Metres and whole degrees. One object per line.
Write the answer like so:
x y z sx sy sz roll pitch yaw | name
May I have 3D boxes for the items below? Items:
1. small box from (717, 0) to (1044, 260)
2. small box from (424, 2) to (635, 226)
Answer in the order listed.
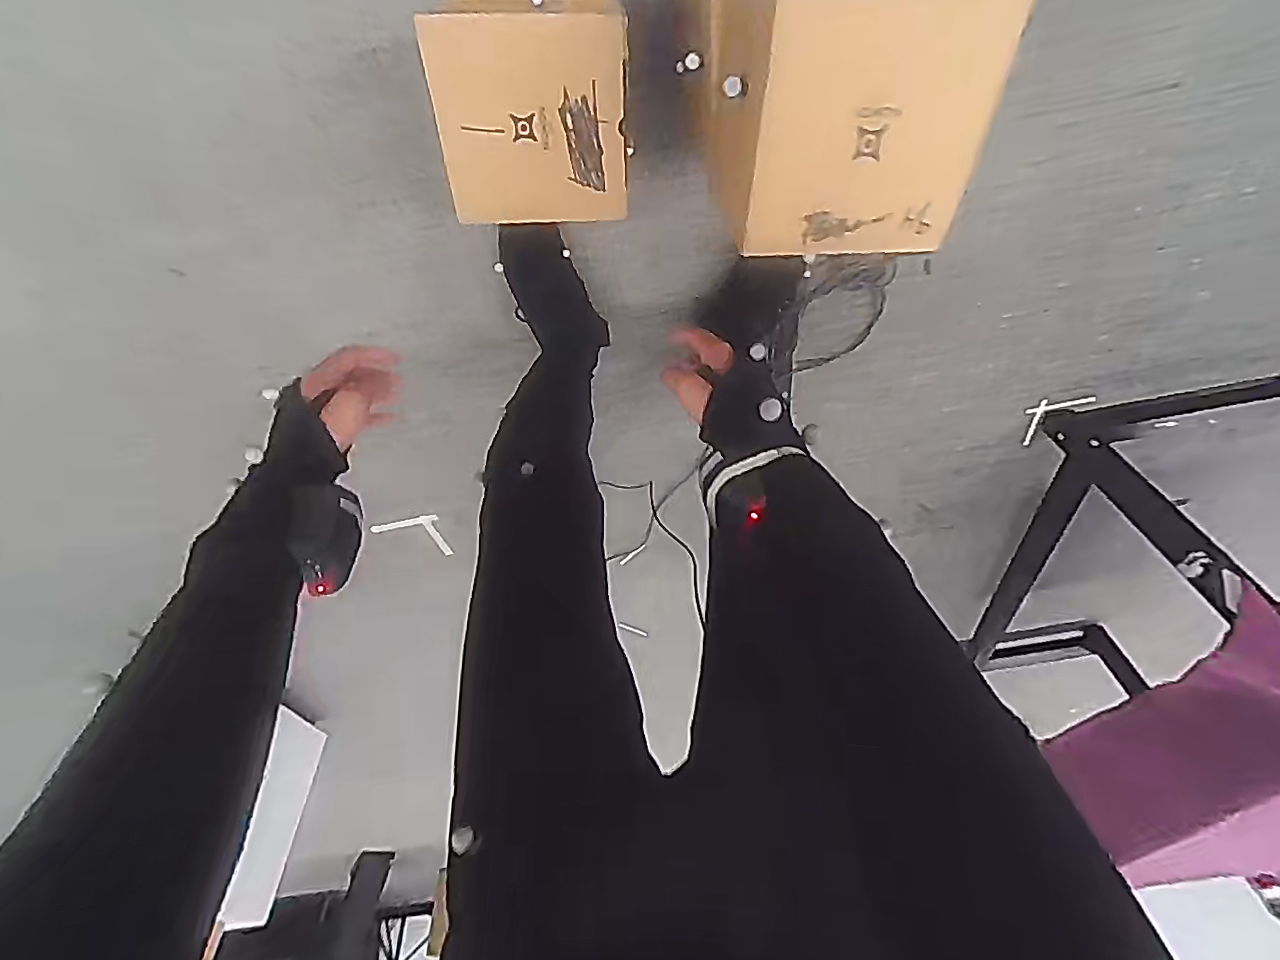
0.162 -0.295 0.435 0.168 0.176 0.179 -2 133 -3 | small box
-0.098 -0.376 0.555 0.179 0.176 0.168 -2 134 -3 | small box
